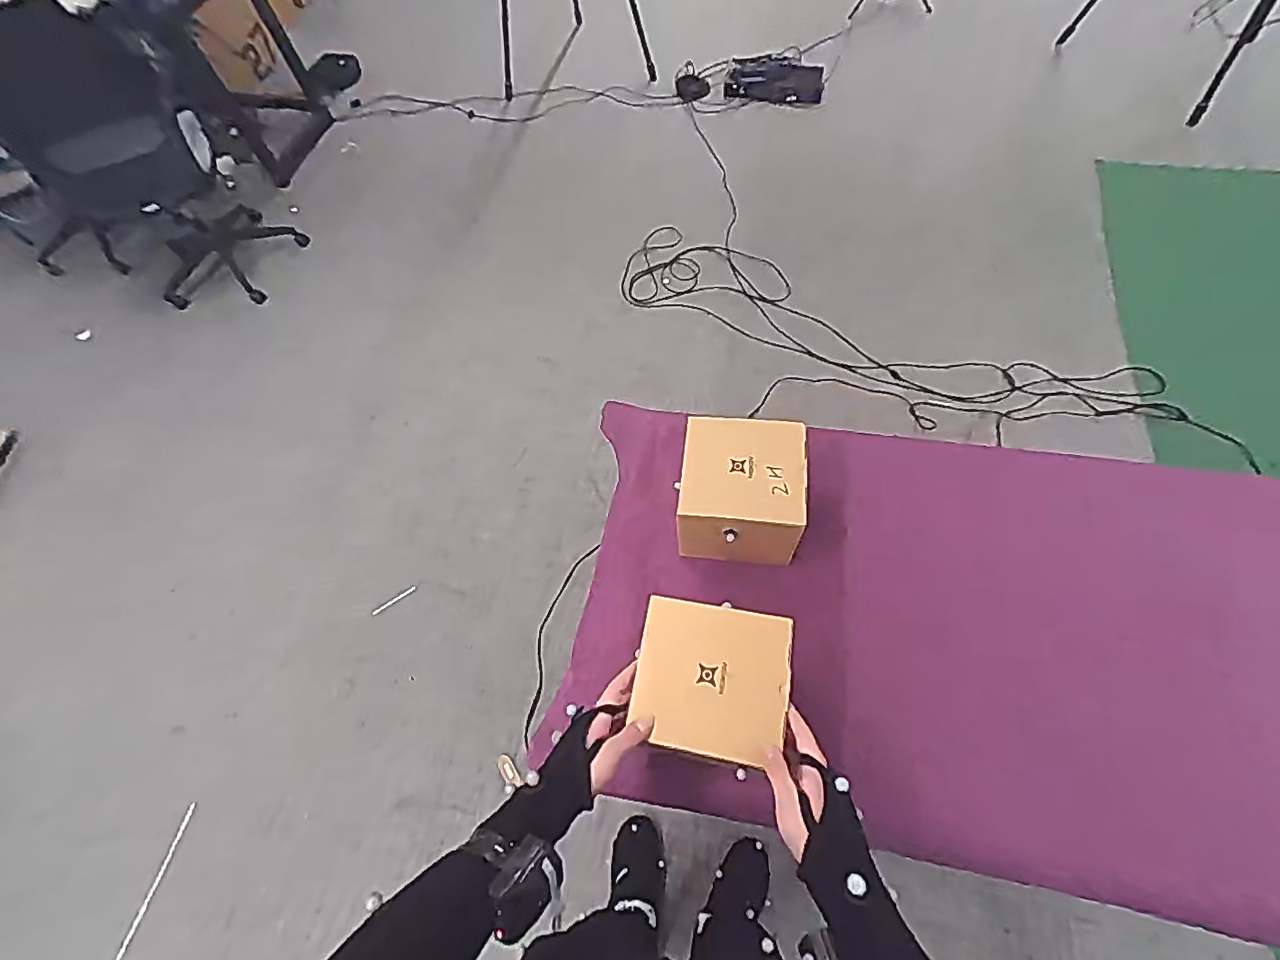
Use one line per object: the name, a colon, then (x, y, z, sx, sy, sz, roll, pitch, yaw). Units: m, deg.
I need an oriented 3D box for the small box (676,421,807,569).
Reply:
small box: (0.154, 0.027, 0.830, 0.179, 0.176, 0.168, 5, 63, 8)

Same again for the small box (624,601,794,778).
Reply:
small box: (0.090, 0.270, 0.685, 0.179, 0.176, 0.168, 8, 61, 10)
